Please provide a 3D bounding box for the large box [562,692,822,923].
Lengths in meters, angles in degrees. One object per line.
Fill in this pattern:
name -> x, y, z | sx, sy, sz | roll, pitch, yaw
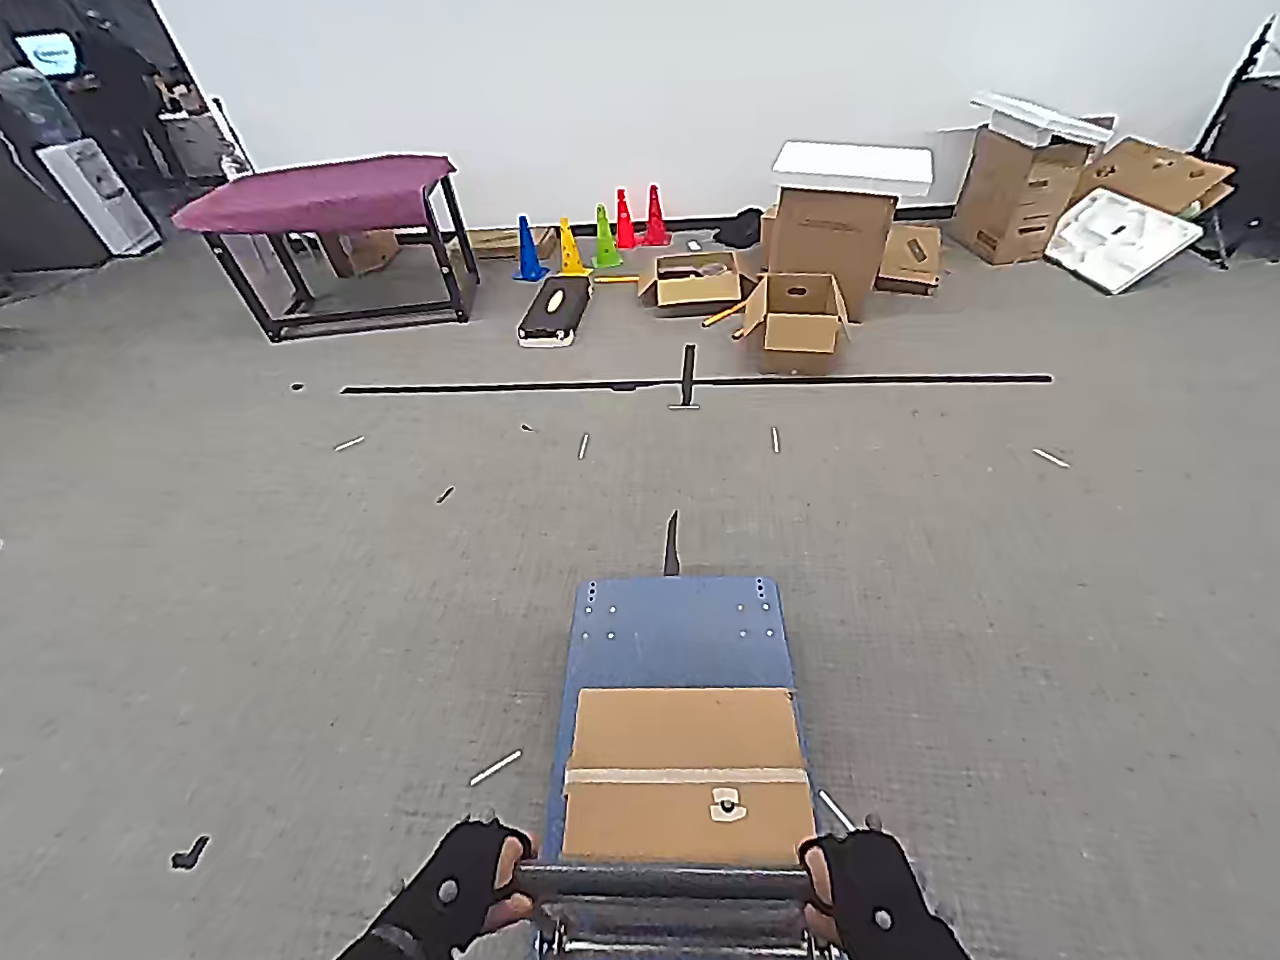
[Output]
large box -> 0.086, 0.621, 1.026 | 0.408, 0.320, 0.320 | -1, 45, 3
